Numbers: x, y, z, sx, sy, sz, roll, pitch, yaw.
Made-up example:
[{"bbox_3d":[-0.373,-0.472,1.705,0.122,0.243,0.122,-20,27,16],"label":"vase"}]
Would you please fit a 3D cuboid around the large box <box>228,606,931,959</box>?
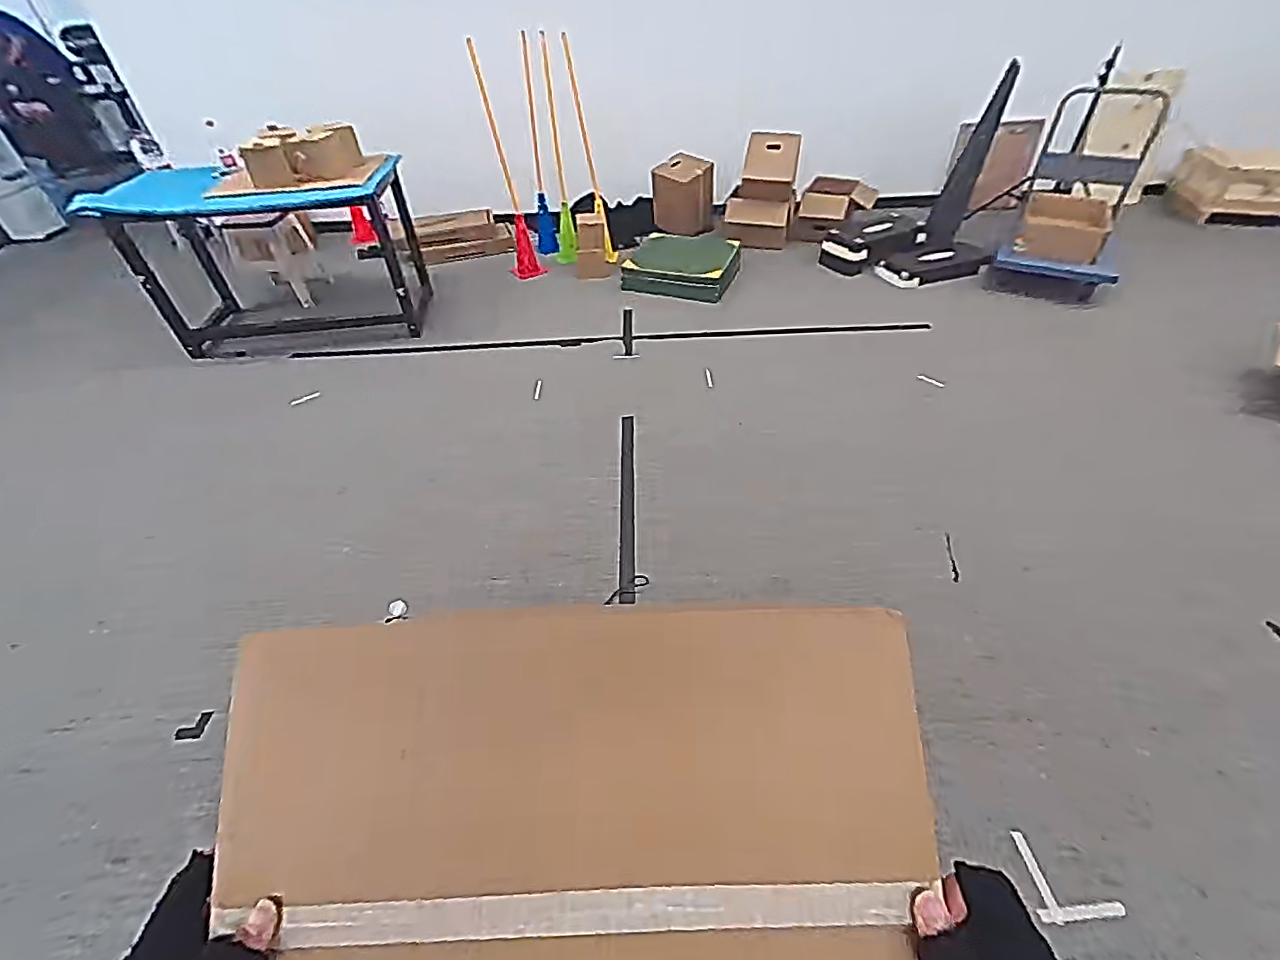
[{"bbox_3d":[-0.035,0.275,0.456,0.408,0.320,0.320,-3,79,1],"label":"large box"}]
